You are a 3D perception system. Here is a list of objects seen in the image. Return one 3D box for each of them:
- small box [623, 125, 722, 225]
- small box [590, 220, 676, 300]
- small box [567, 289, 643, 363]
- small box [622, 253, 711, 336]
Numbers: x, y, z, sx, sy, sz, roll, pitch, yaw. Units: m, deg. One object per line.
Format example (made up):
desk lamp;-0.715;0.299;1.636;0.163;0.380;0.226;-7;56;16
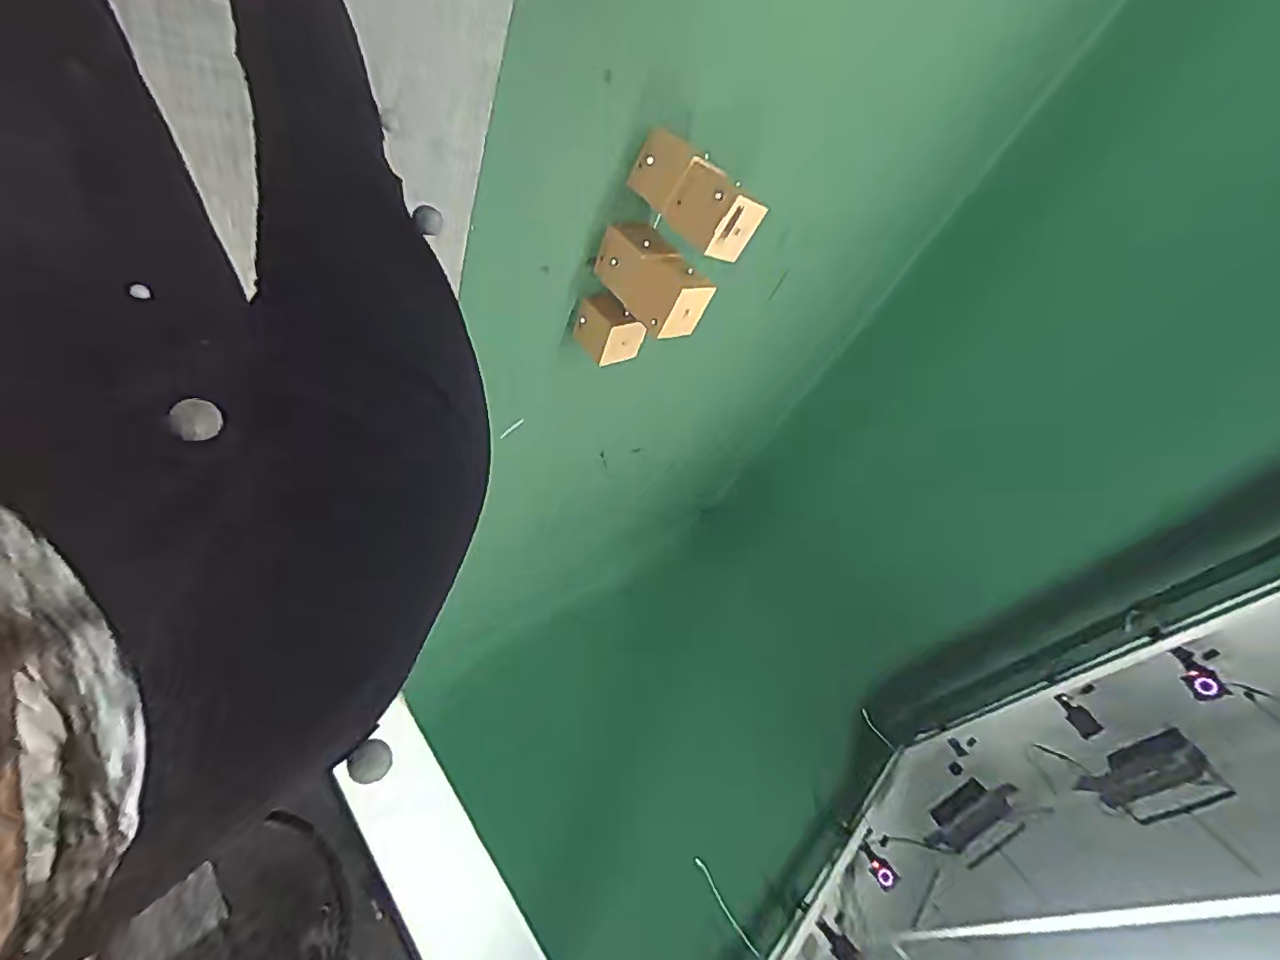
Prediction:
small box;0.089;-0.853;1.517;0.179;0.176;0.168;-13;147;-52
small box;-0.027;-0.684;1.675;0.179;0.176;0.168;-24;156;-41
small box;-0.118;-0.531;1.847;0.179;0.176;0.168;-25;156;-38
small box;0.074;-0.563;1.631;0.168;0.176;0.179;-22;155;-44
